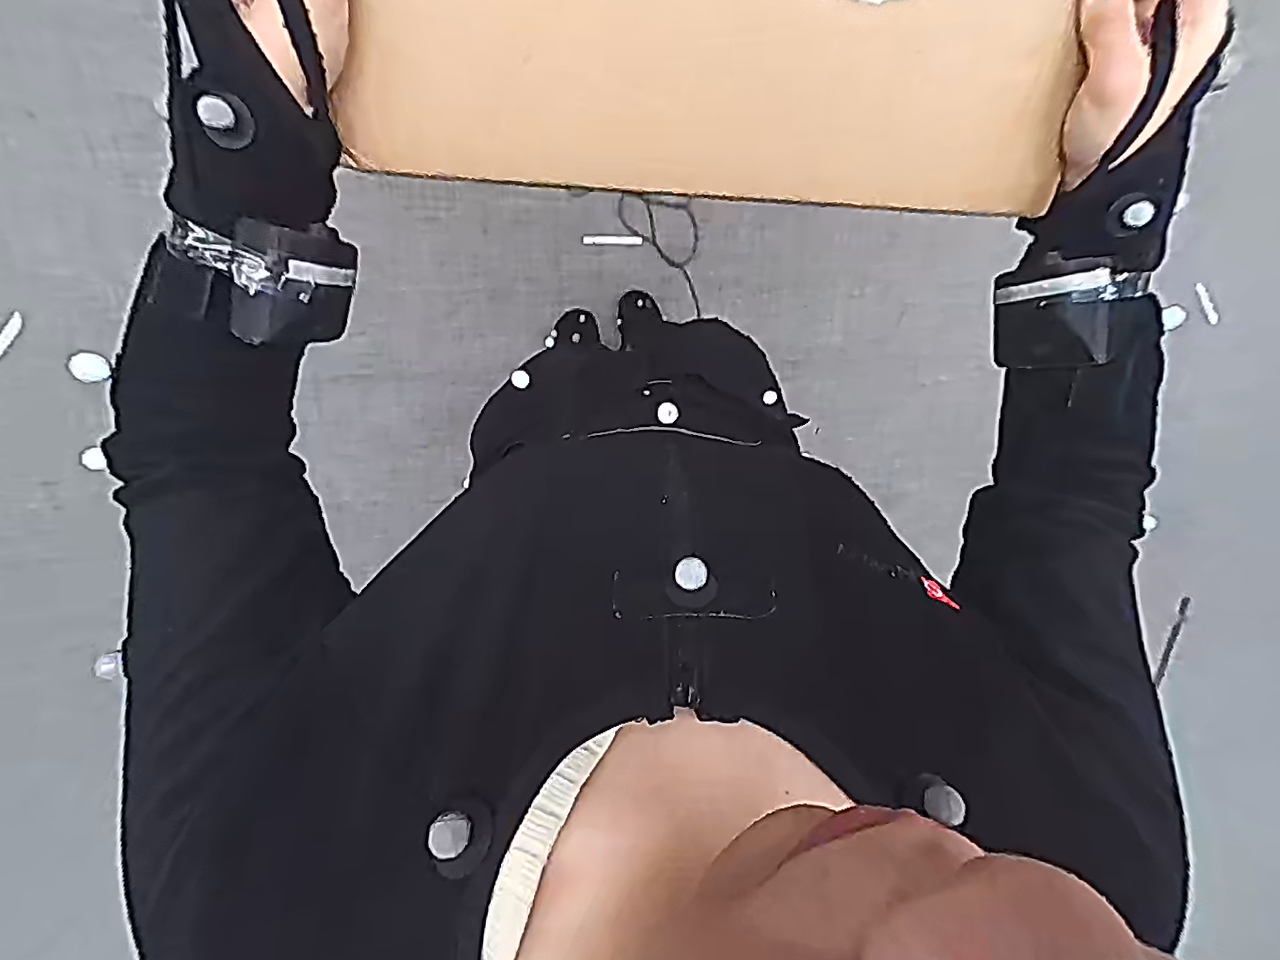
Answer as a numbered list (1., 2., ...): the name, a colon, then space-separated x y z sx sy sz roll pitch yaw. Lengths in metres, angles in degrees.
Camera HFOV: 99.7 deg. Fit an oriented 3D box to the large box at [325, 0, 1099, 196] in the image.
1. large box: 0.034 -0.379 0.365 0.408 0.320 0.320 0 120 -7
